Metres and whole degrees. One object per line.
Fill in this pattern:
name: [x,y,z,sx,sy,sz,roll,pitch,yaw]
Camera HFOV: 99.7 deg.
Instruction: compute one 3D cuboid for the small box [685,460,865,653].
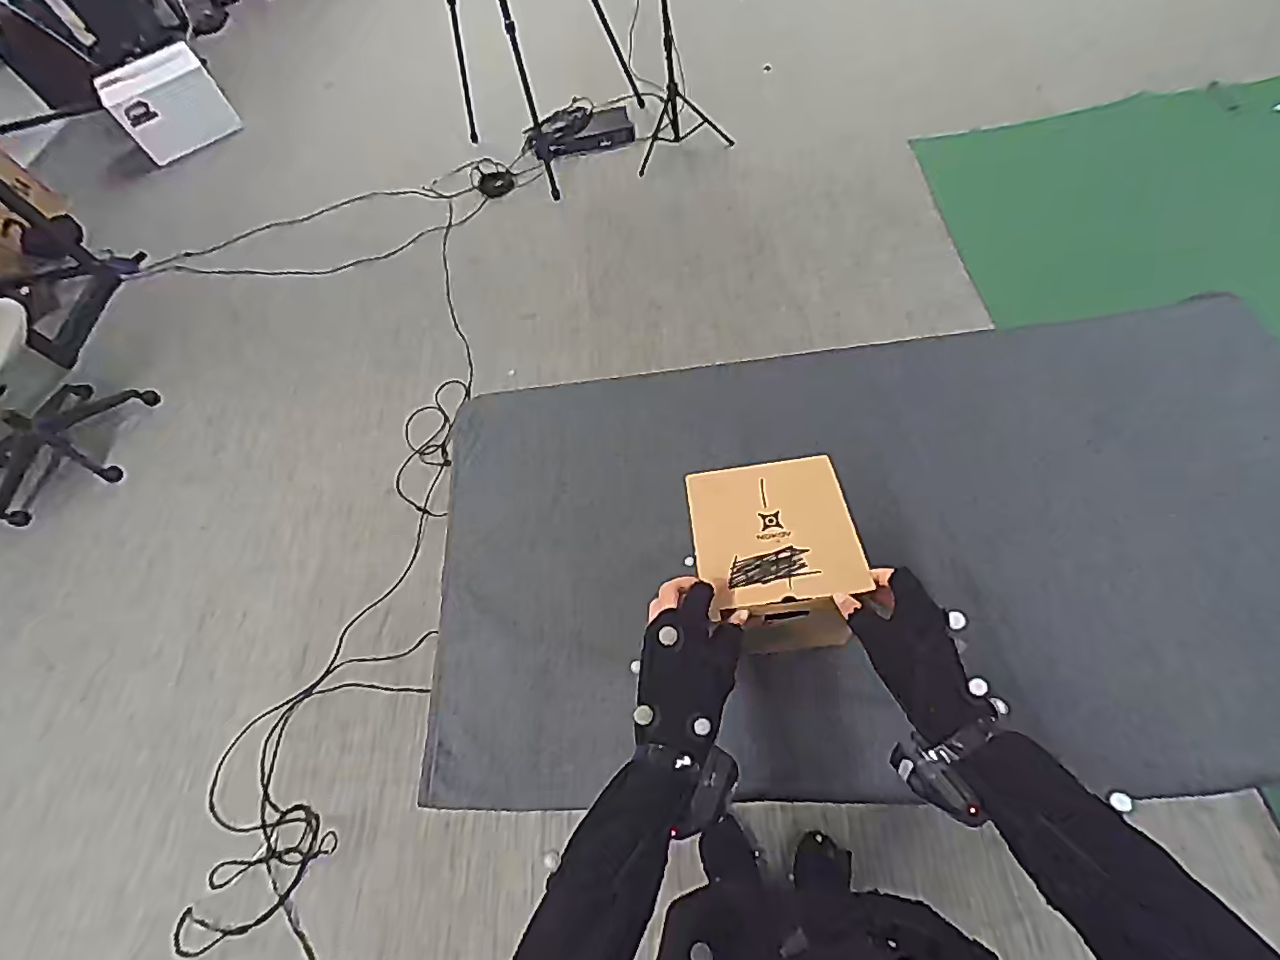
small box: [0.150,0.101,0.646,0.168,0.176,0.179,-8,58,6]
